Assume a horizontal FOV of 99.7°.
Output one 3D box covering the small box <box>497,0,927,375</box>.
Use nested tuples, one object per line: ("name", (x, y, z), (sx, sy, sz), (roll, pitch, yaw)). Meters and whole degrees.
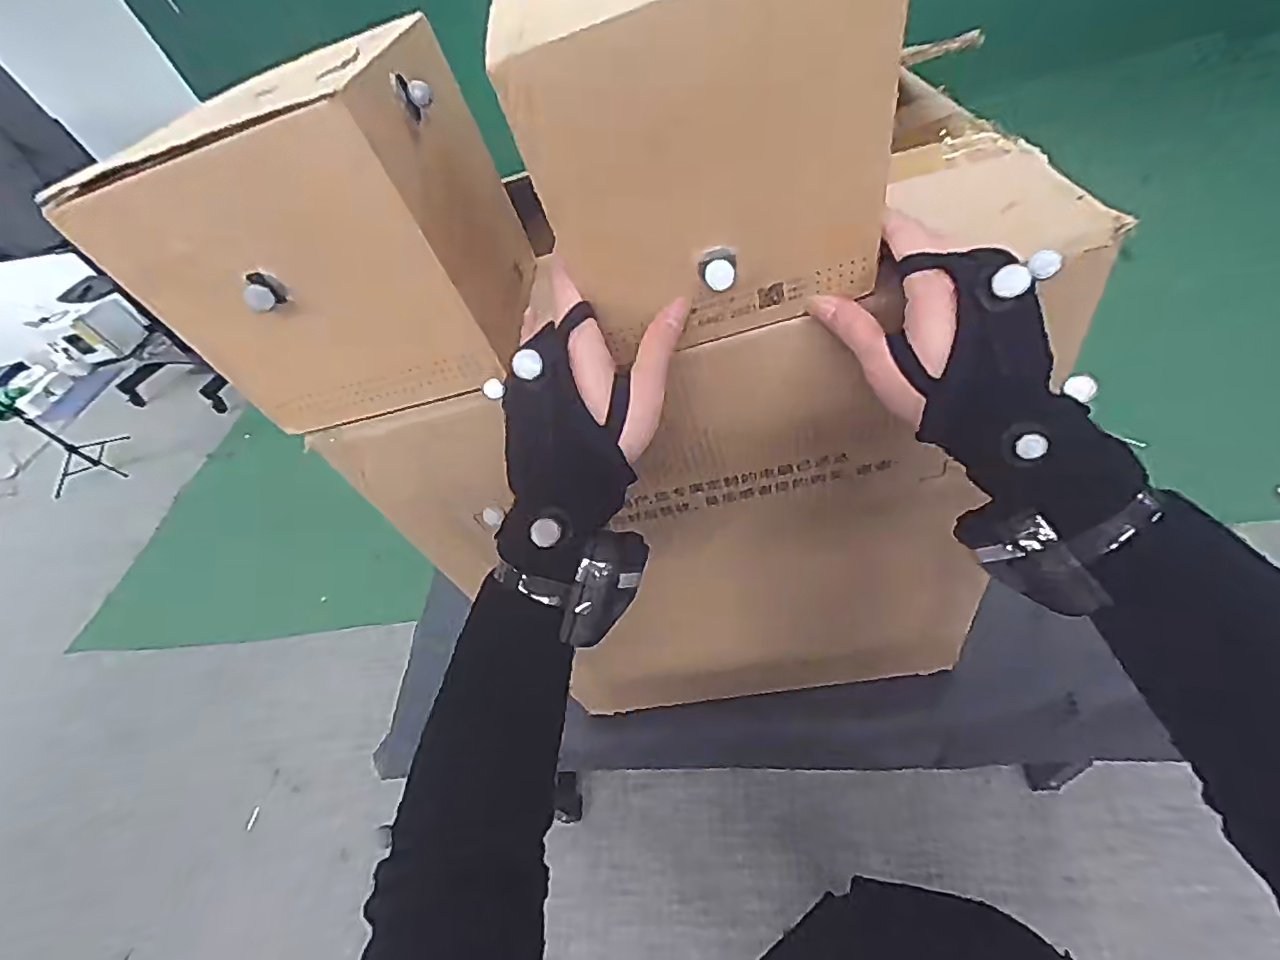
("small box", (0.034, -0.191, 0.310), (0.168, 0.176, 0.179), (-13, 55, 8))

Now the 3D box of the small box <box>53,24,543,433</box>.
("small box", (-0.184, -0.152, 0.356), (0.179, 0.176, 0.168), (-11, 49, 11))
